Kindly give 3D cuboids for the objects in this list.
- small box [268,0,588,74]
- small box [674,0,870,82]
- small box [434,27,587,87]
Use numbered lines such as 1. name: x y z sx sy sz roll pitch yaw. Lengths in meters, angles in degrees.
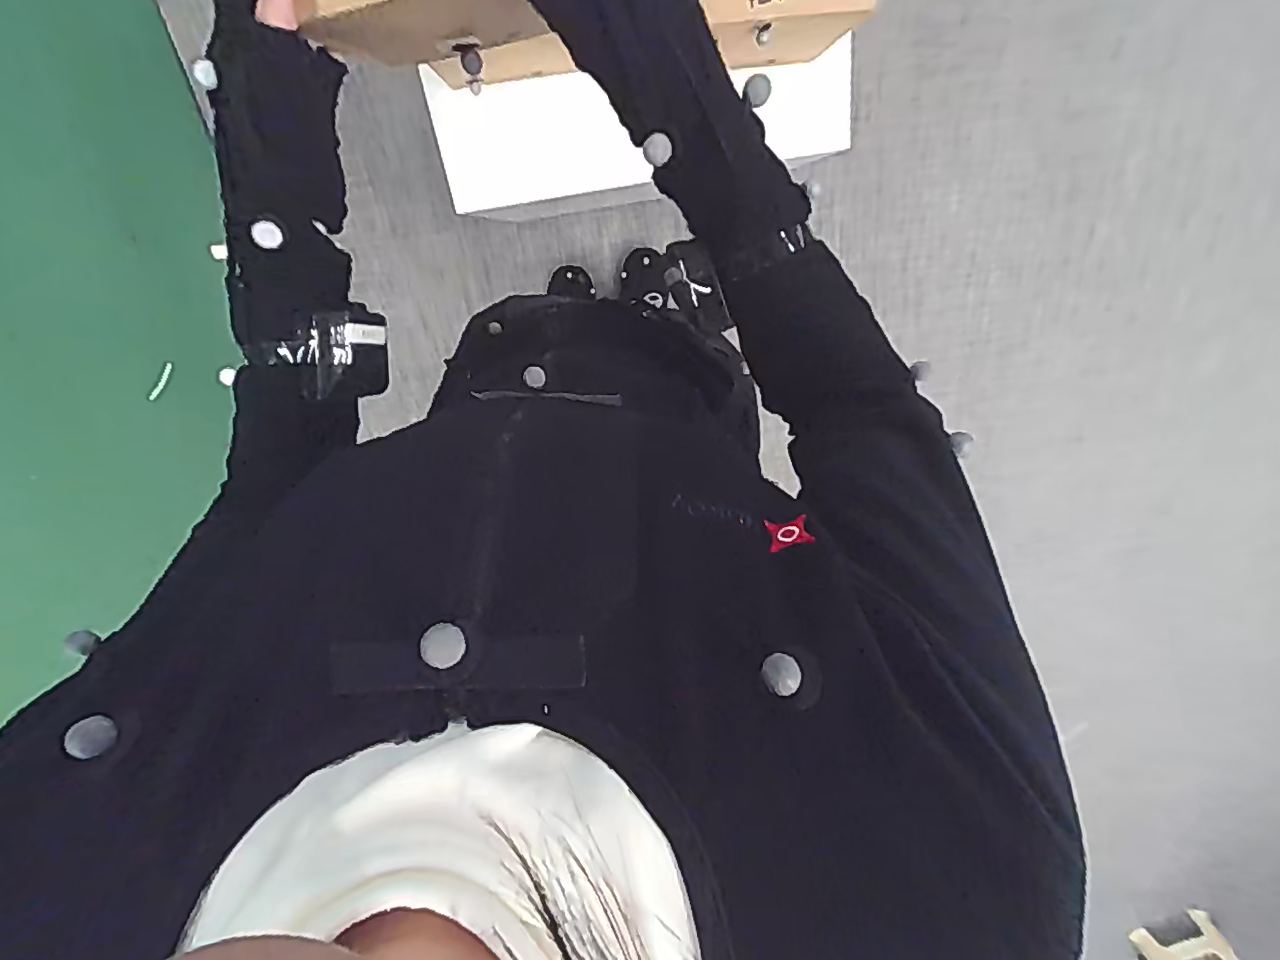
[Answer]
1. small box: -0.132 -0.371 0.317 0.168 0.176 0.179 -9 120 6
2. small box: 0.121 -0.533 0.542 0.168 0.176 0.179 -5 113 0
3. small box: -0.147 -0.514 0.534 0.168 0.176 0.179 -8 113 0
